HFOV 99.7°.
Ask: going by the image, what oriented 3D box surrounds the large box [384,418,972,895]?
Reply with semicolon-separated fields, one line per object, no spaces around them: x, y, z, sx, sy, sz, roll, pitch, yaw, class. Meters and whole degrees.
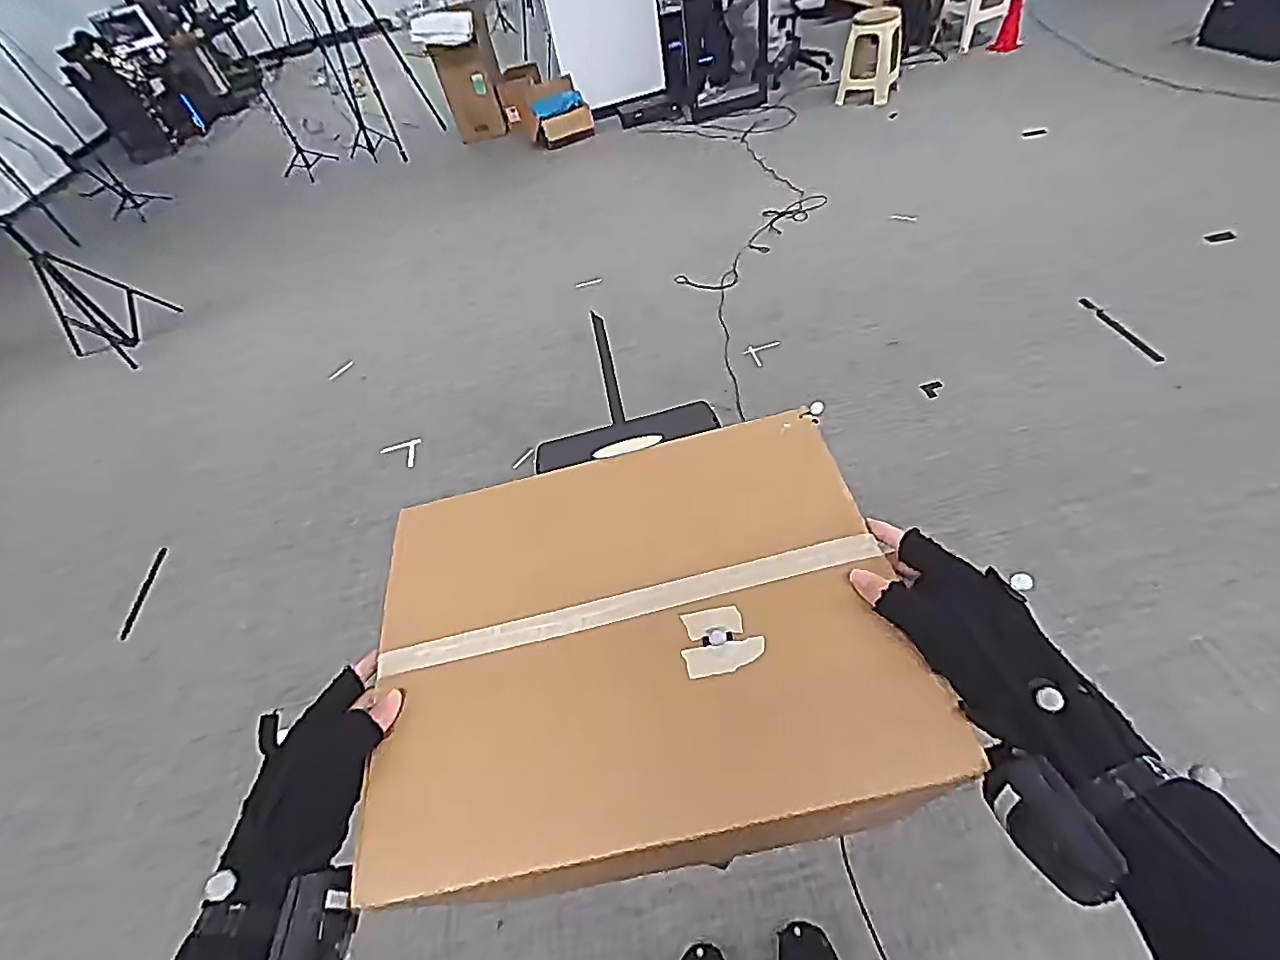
0.021;0.193;0.555;0.408;0.320;0.320;-14;52;2;large box
